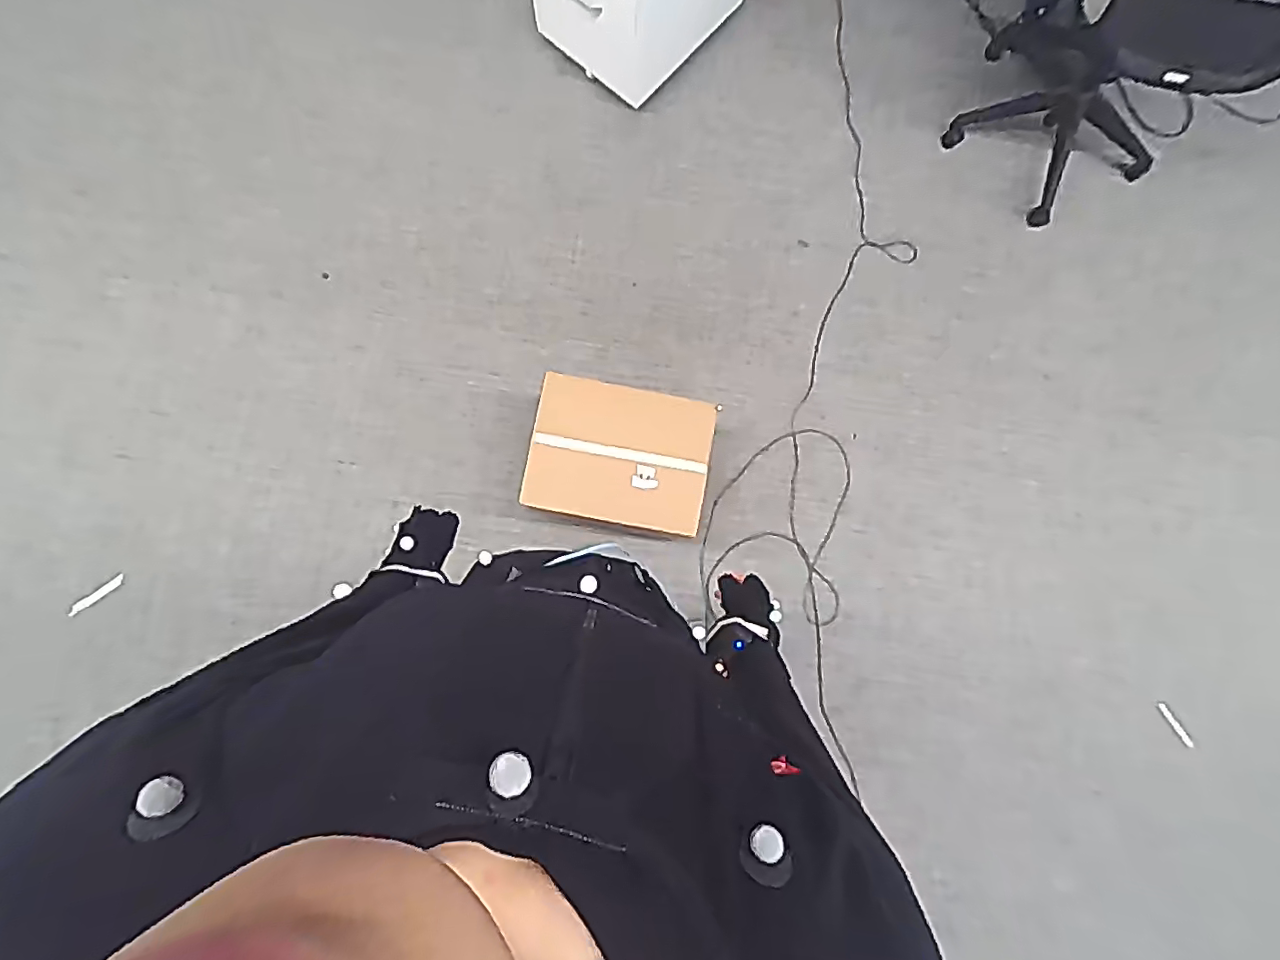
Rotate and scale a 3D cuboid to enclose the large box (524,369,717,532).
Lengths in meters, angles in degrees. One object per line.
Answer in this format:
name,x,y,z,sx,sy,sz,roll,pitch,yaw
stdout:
large box,-0.051,-0.056,1.378,0.408,0.320,0.320,11,83,-2
